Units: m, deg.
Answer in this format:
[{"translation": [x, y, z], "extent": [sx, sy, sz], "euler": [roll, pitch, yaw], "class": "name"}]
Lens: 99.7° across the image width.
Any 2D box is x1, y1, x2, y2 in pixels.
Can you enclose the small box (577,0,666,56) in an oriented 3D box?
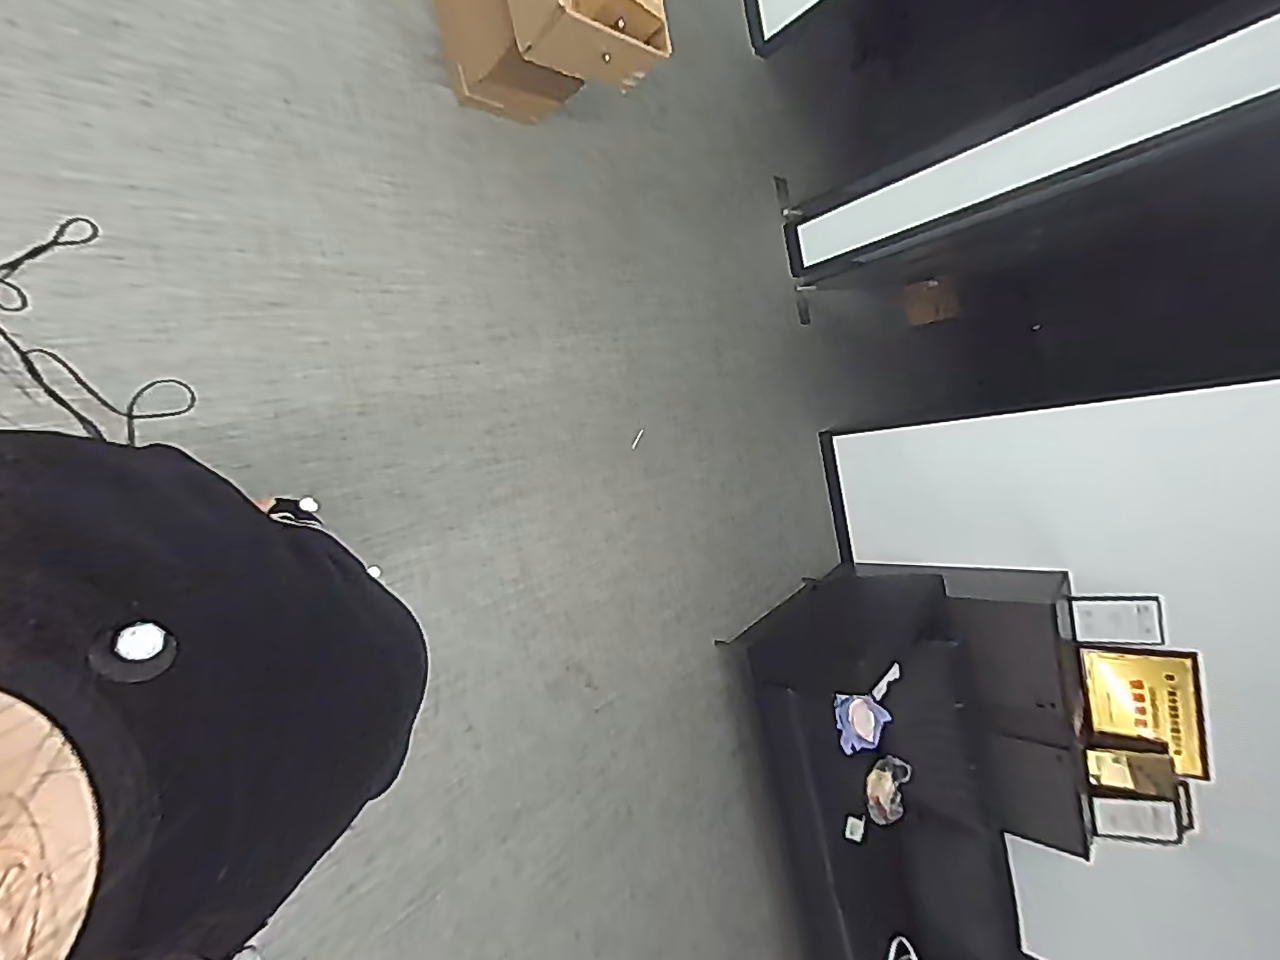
[{"translation": [-0.059, -1.278, 1.429], "extent": [0.179, 0.176, 0.168], "euler": [-9, 93, -42], "class": "small box"}]
